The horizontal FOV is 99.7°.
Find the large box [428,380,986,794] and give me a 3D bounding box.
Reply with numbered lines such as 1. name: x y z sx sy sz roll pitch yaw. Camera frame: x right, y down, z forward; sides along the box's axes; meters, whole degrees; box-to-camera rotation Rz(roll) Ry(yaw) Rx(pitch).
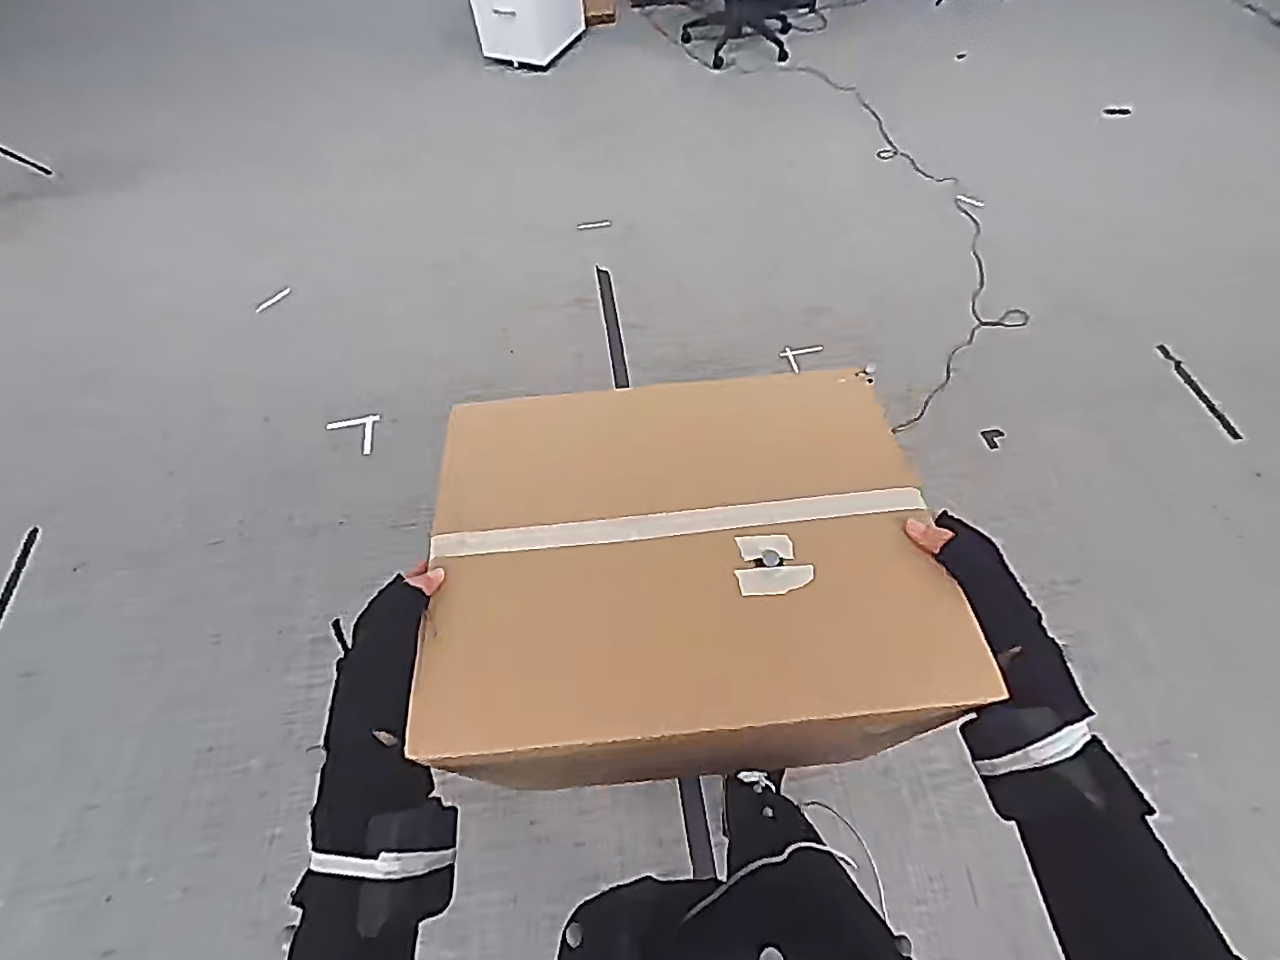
1. large box: 0.039 0.128 0.580 0.408 0.320 0.320 -6 57 -1
